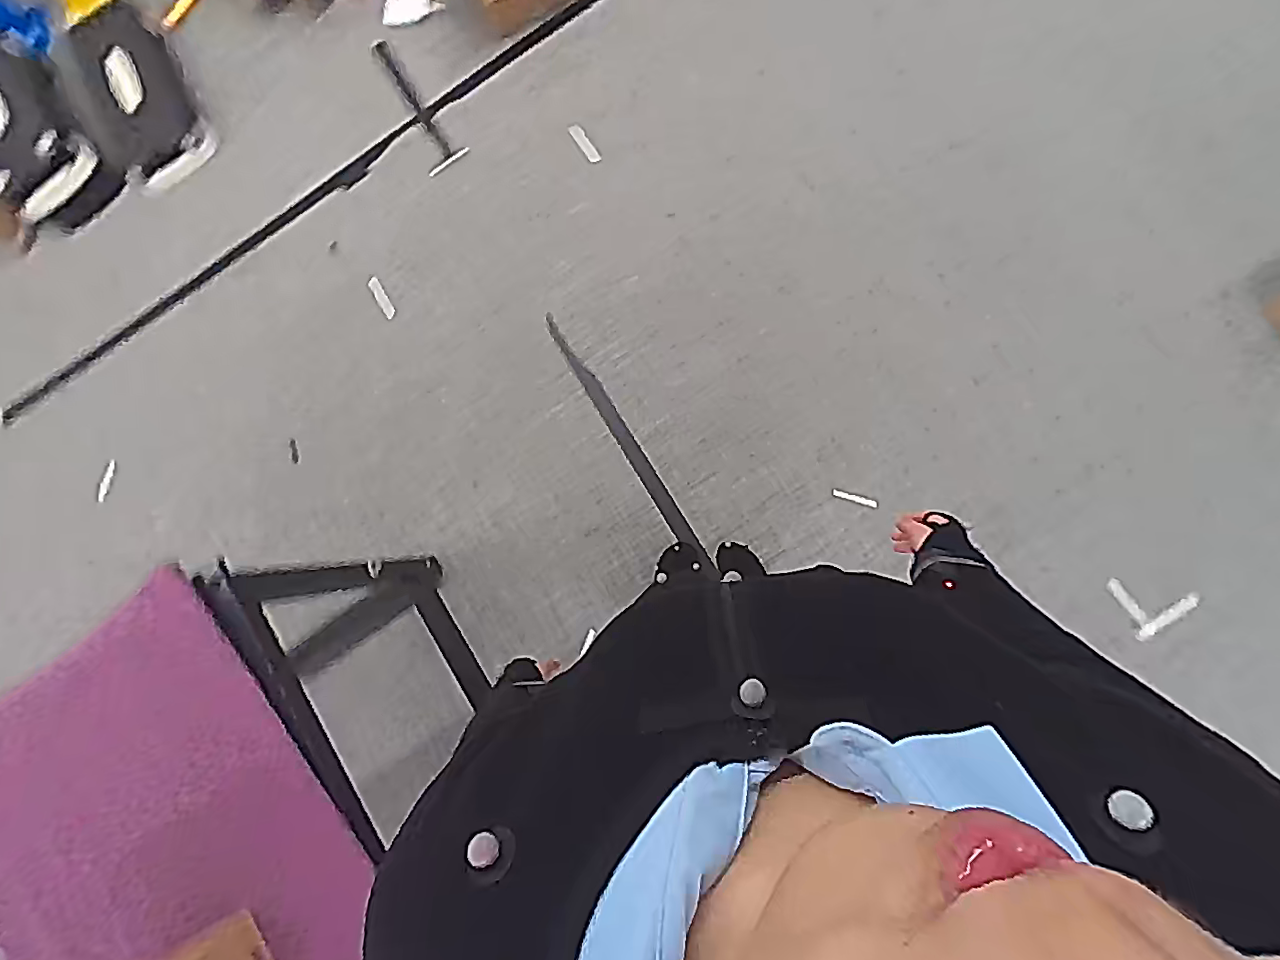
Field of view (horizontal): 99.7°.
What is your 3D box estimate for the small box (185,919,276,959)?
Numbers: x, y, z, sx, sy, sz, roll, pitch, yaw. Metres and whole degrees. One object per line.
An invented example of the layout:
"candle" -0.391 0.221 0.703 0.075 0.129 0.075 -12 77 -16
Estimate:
"small box" -0.610 0.752 0.716 0.179 0.176 0.168 -35 81 2
